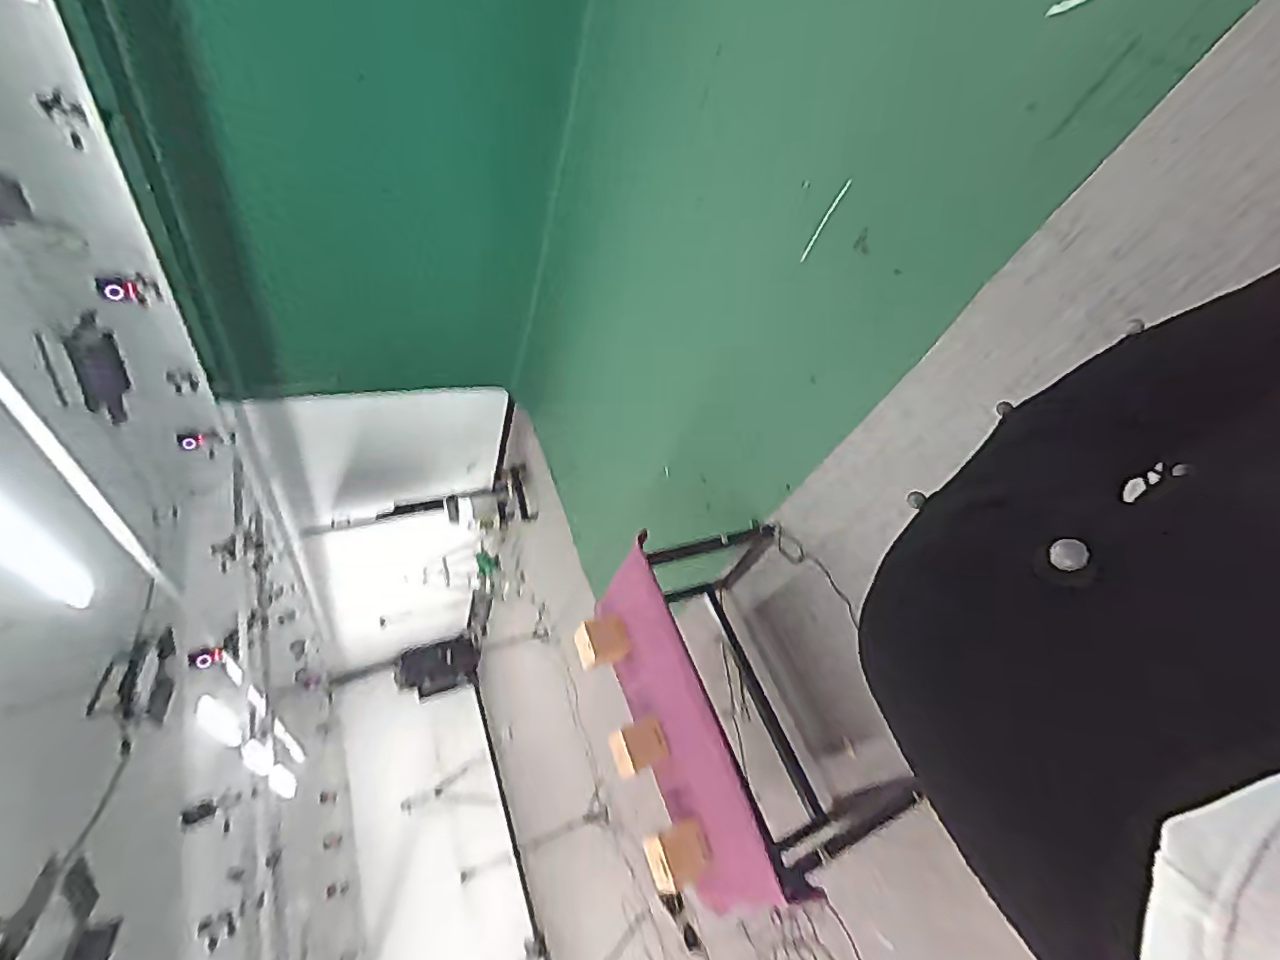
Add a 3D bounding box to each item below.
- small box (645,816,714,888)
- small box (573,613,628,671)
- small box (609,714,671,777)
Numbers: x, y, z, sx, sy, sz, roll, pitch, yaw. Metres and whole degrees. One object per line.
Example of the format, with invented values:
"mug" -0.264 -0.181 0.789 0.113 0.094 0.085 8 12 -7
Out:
"small box" 0.147 1.355 1.975 0.168 0.176 0.179 65 147 26
"small box" -0.169 0.699 2.338 0.168 0.176 0.179 64 147 25
"small box" -0.001 1.057 2.154 0.168 0.176 0.179 65 147 24
